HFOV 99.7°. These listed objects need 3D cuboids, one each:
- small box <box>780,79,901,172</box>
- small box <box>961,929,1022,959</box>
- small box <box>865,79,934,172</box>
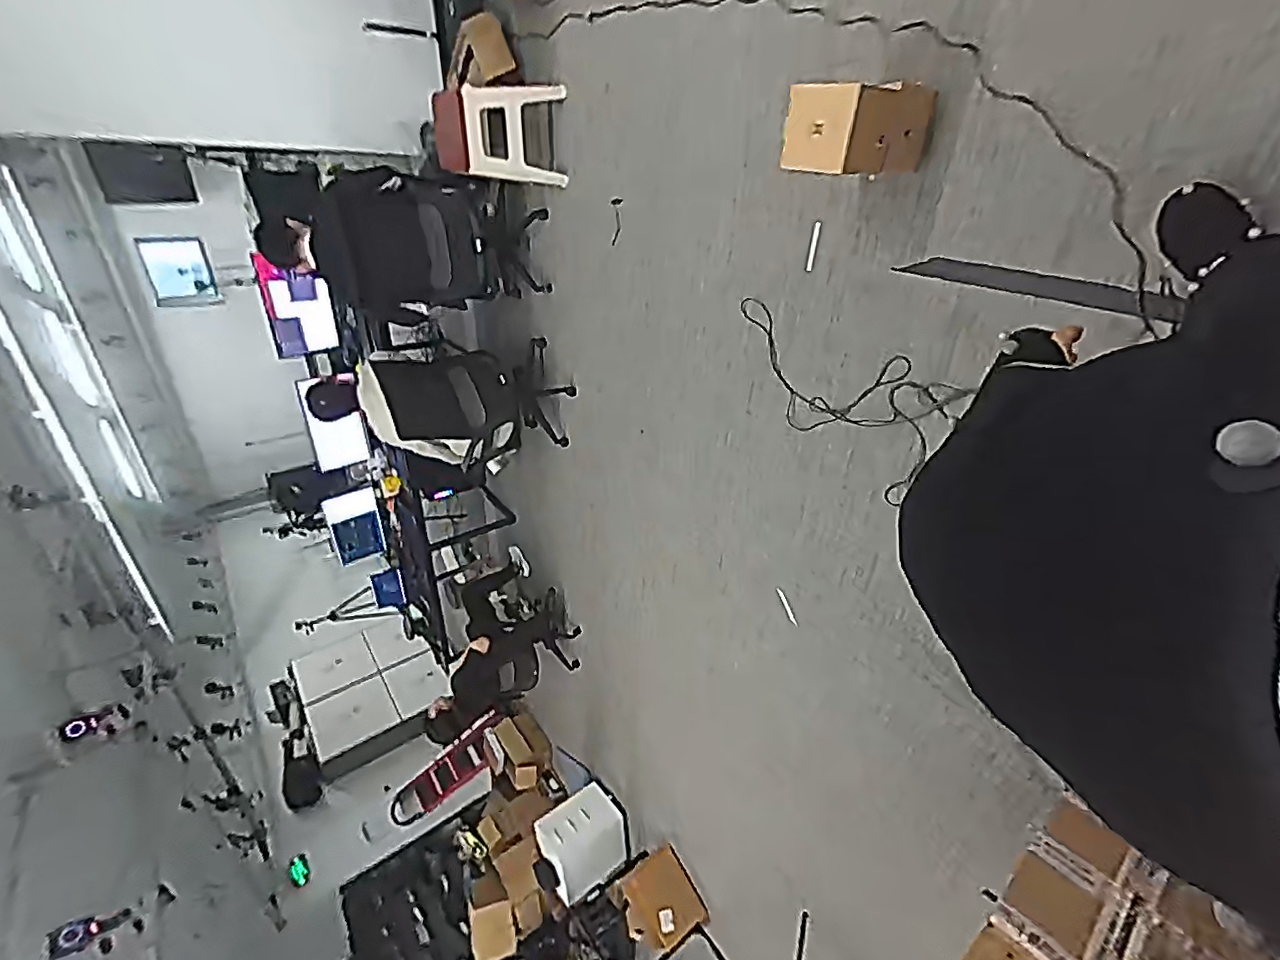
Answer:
[{"bbox_3d":[0.455,-0.806,1.236,0.179,0.176,0.168,34,135,40],"label":"small box"},{"bbox_3d":[0.783,1.153,1.189,0.168,0.176,0.179,33,129,45],"label":"small box"},{"bbox_3d":[0.585,-0.857,1.319,0.168,0.176,0.179,33,133,42],"label":"small box"}]
